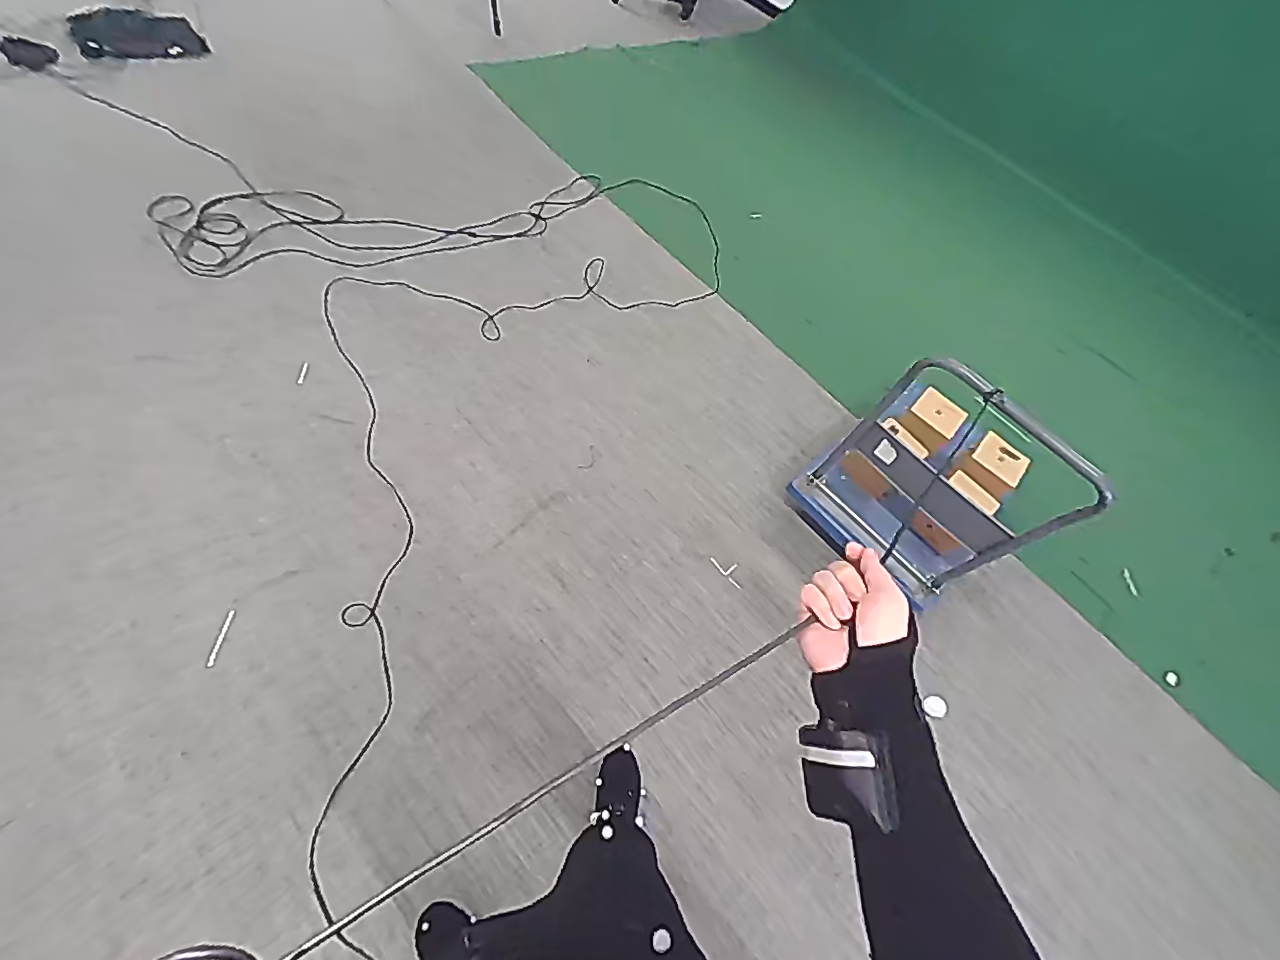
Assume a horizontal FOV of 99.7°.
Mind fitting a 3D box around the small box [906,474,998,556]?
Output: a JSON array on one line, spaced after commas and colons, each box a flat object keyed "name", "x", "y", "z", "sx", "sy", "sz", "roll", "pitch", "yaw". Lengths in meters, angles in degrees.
[{"name": "small box", "x": 1.015, "y": 0.119, "z": 1.774, "sx": 0.179, "sy": 0.176, "sz": 0.168, "roll": -34, "pitch": 72, "yaw": -28}]

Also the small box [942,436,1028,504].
[{"name": "small box", "x": 1.209, "y": -0.017, "z": 1.905, "sx": 0.168, "sy": 0.176, "sz": 0.179, "roll": 43, "pitch": 60, "yaw": 14}]

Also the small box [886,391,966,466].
[{"name": "small box", "x": 1.029, "y": -0.183, "z": 1.963, "sx": 0.168, "sy": 0.176, "sz": 0.179, "roll": 43, "pitch": 59, "yaw": 13}]
